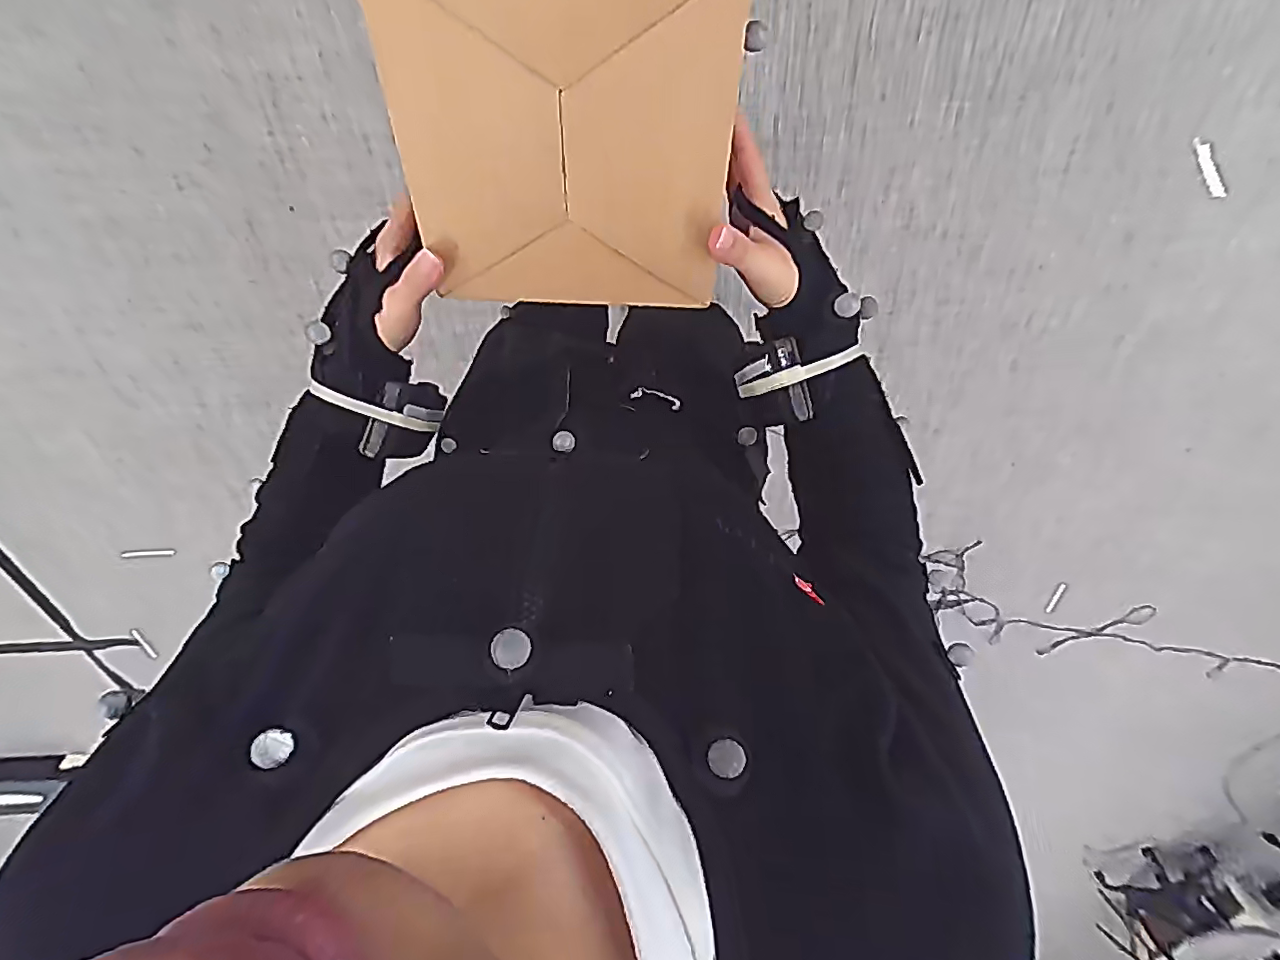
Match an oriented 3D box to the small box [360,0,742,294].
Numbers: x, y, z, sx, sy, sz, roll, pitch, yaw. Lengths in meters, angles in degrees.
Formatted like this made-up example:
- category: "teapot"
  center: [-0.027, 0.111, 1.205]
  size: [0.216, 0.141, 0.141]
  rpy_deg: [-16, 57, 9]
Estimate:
- category: "small box"
  center: [-0.036, -0.231, 0.337]
  size: [0.179, 0.176, 0.168]
  rpy_deg: [2, 136, -1]
